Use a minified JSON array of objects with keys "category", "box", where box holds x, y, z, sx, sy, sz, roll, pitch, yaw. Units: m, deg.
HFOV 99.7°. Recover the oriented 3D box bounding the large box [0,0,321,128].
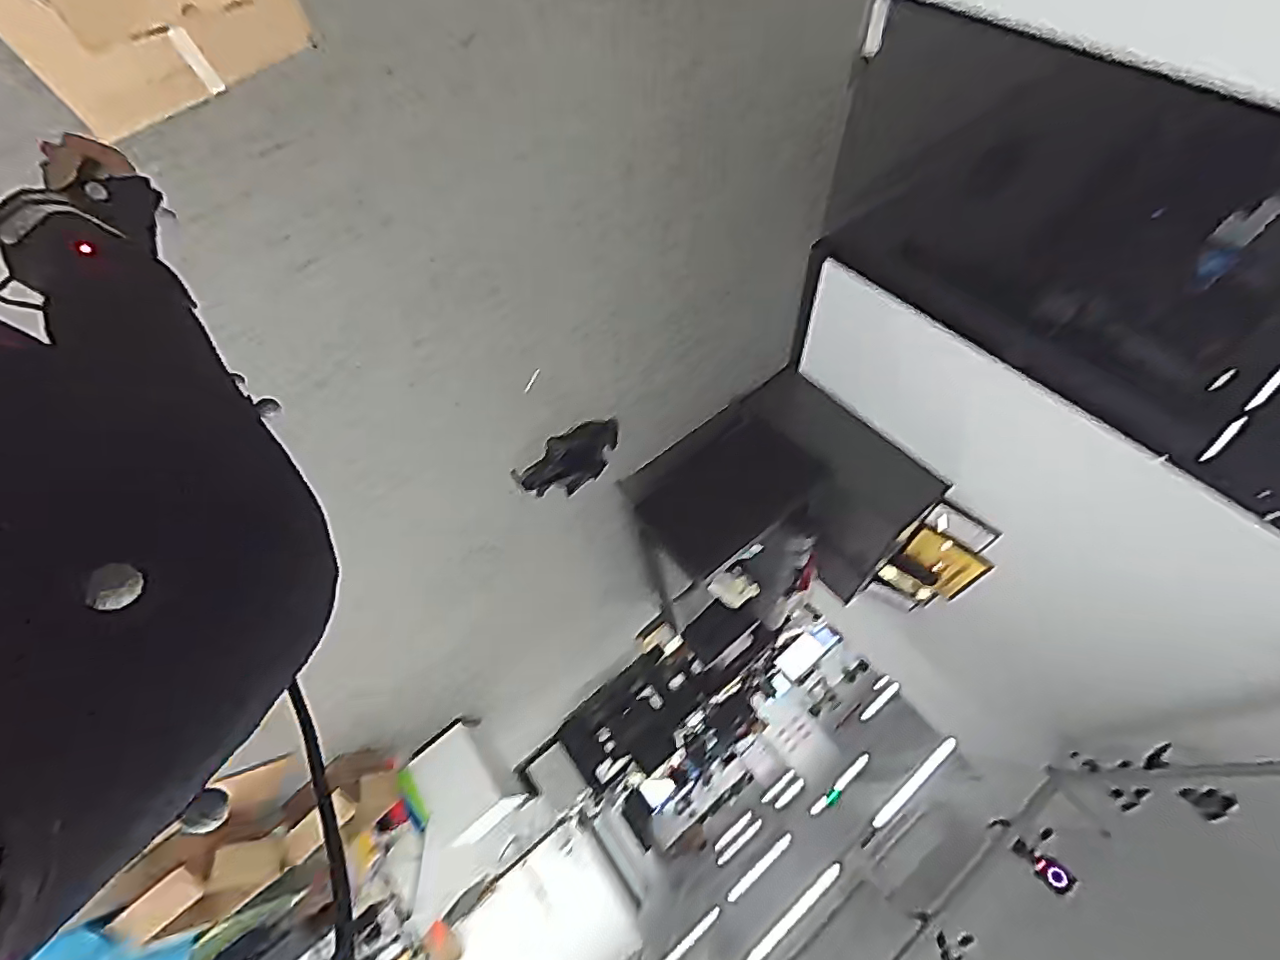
[{"category":"large box","box":[-0.679,-0.728,0.612,0.320,0.320,0.408,-37,155,-11]}]
